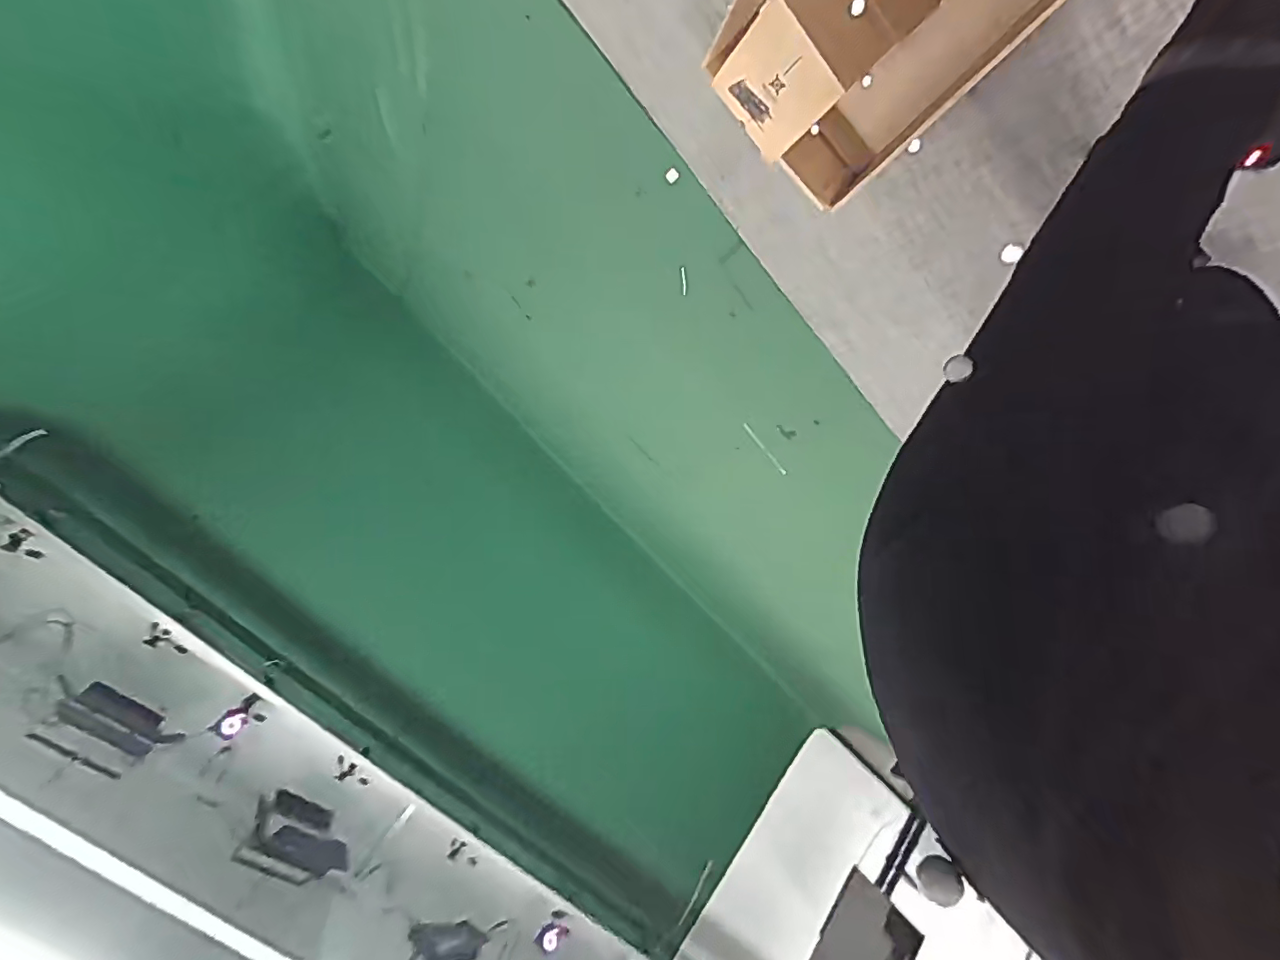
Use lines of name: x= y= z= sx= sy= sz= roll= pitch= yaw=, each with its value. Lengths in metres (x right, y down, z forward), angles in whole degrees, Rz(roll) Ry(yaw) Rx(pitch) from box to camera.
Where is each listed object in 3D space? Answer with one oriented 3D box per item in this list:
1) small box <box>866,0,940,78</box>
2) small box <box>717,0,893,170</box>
small box: x=0.368 y=-0.773 z=0.928 sx=0.168 sy=0.176 sz=0.179 roll=46 pitch=157 yaw=-15
small box: x=0.265 y=-0.658 z=0.873 sx=0.168 sy=0.176 sz=0.179 roll=46 pitch=158 yaw=-14
